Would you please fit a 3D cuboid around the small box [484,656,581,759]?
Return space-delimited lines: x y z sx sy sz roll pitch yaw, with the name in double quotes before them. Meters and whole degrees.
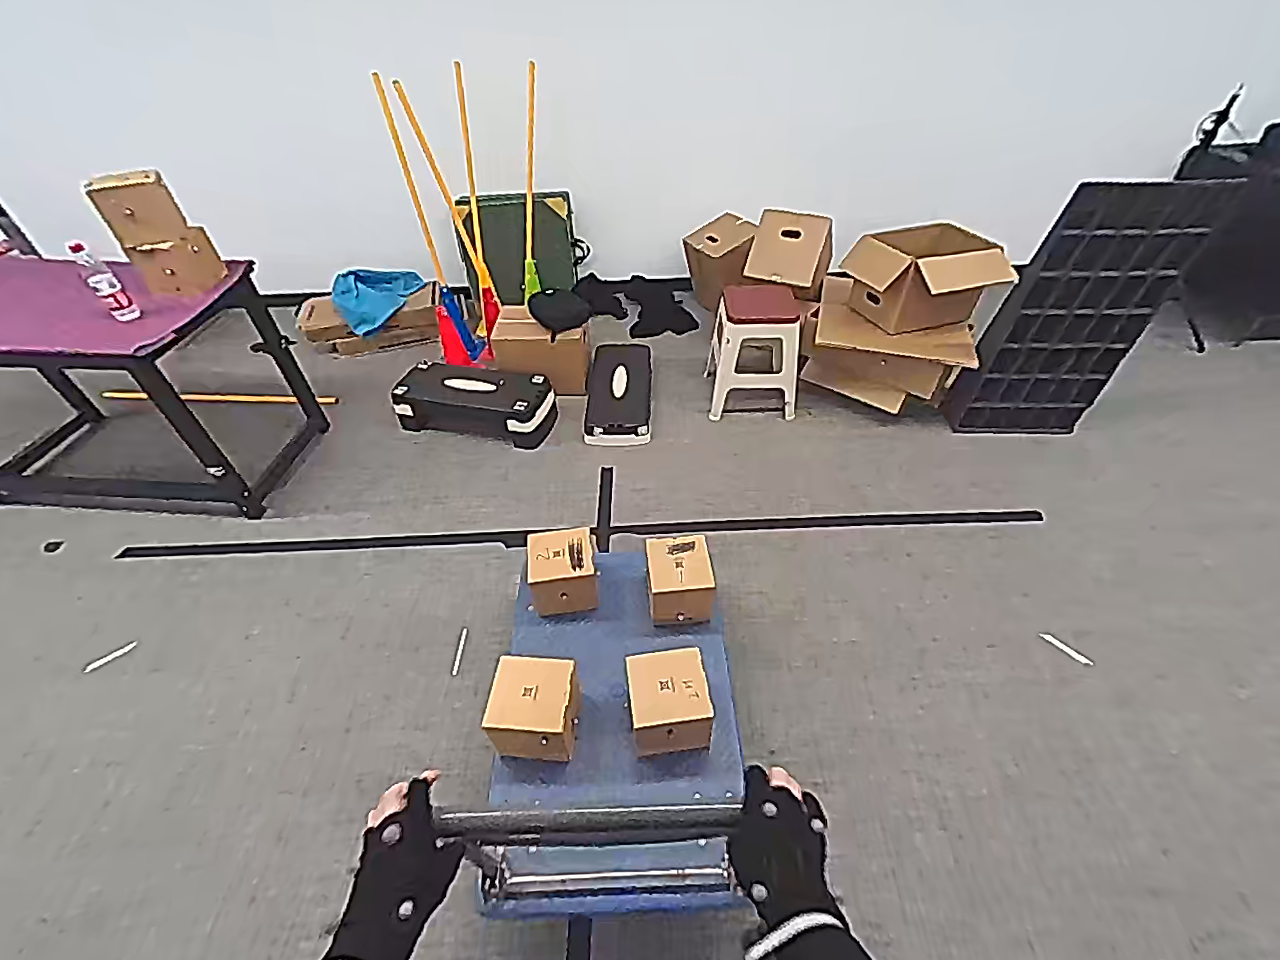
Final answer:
"small box" -0.240 0.529 1.255 0.179 0.176 0.168 3 45 3

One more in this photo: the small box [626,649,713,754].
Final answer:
"small box" 0.065 0.517 1.256 0.179 0.176 0.168 -6 45 -4

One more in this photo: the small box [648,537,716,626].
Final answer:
"small box" 0.109 0.282 1.495 0.168 0.176 0.179 -4 46 -2
